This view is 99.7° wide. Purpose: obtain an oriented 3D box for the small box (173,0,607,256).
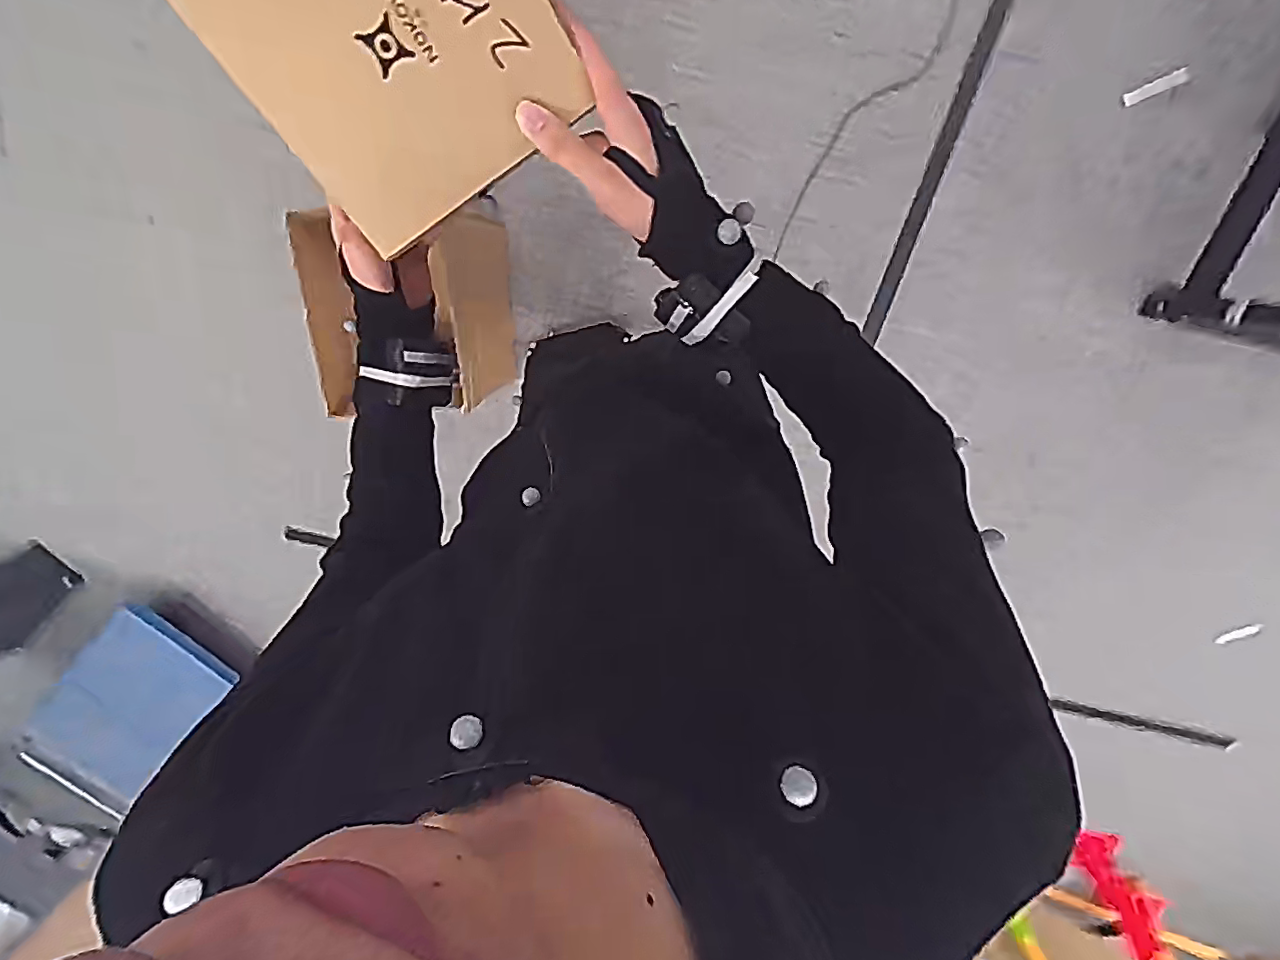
[{"bbox_3d":[-0.149,-0.278,0.365,0.179,0.176,0.168,-34,122,2],"label":"small box"}]
